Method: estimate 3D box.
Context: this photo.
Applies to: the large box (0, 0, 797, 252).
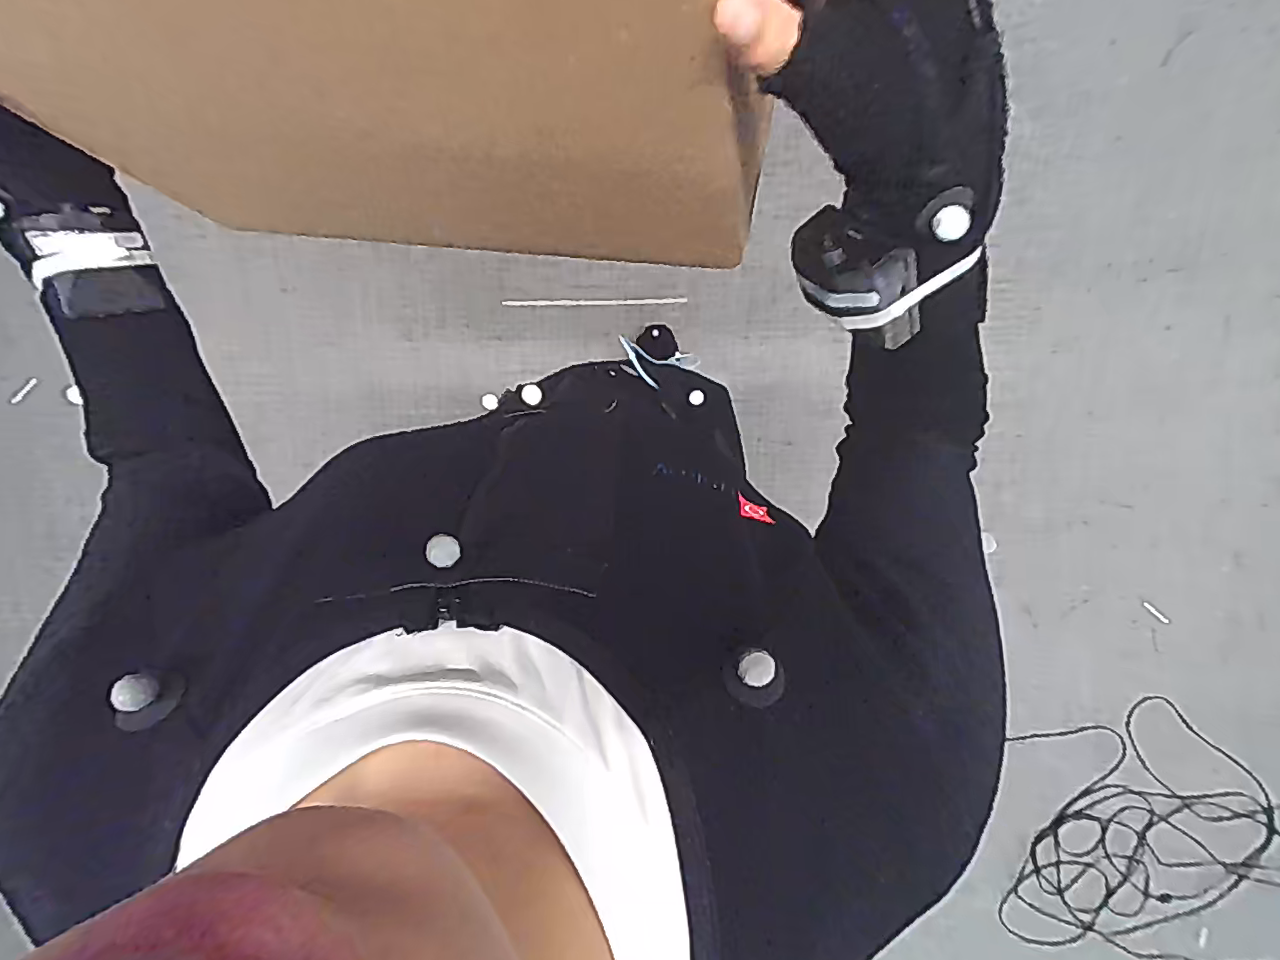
[{"bbox_3d":[-0.125,-0.331,0.244,0.408,0.320,0.320,10,88,12],"label":"large box"}]
